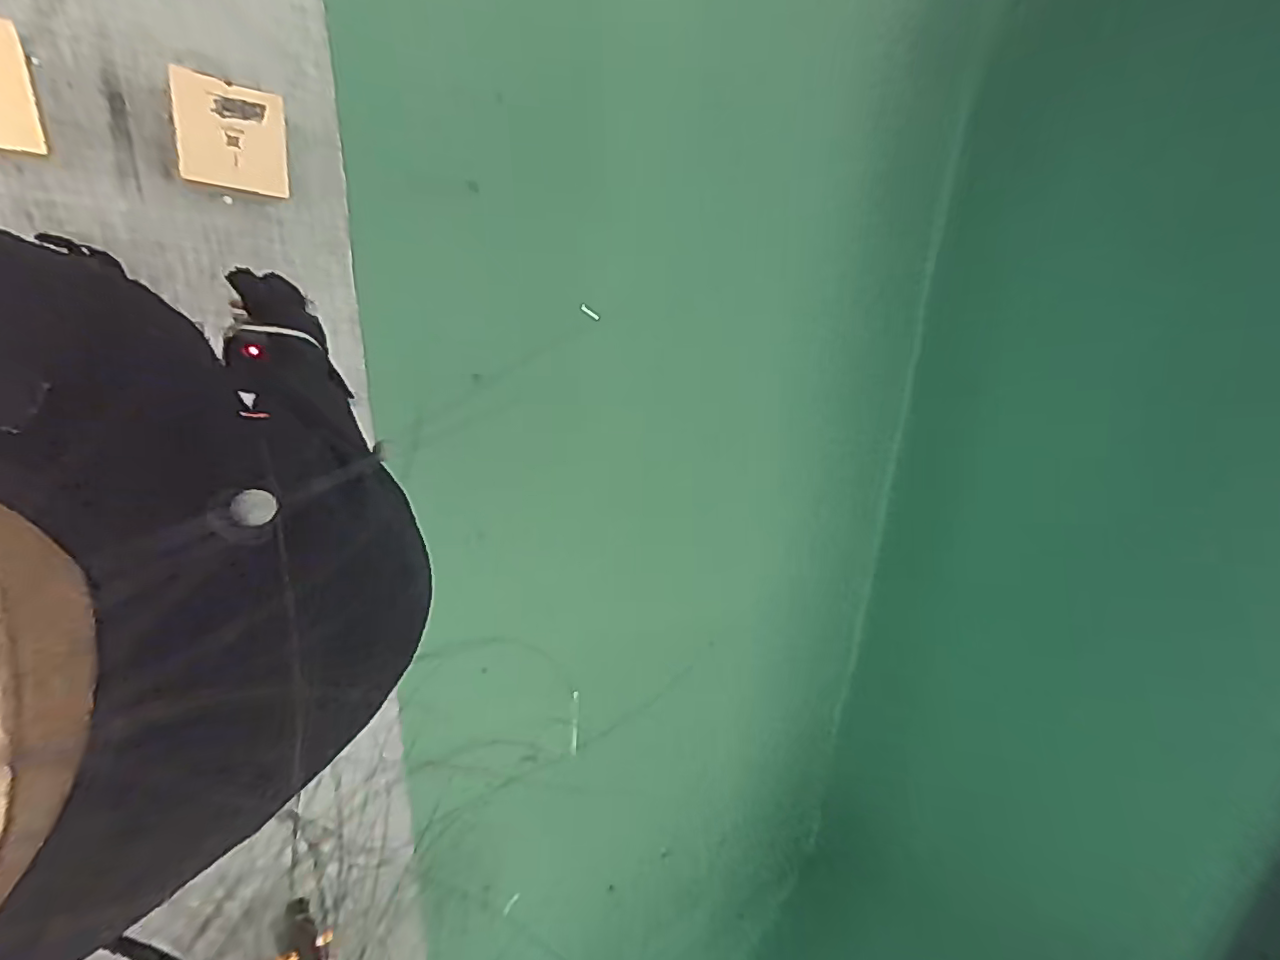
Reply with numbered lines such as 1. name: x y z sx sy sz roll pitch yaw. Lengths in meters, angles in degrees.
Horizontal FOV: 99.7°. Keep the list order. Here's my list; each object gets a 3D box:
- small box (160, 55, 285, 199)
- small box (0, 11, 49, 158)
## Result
1. small box: -0.788 -0.650 1.021 0.168 0.176 0.179 -8 112 -41
2. small box: -1.034 -0.603 0.811 0.168 0.176 0.179 -13 114 -40
